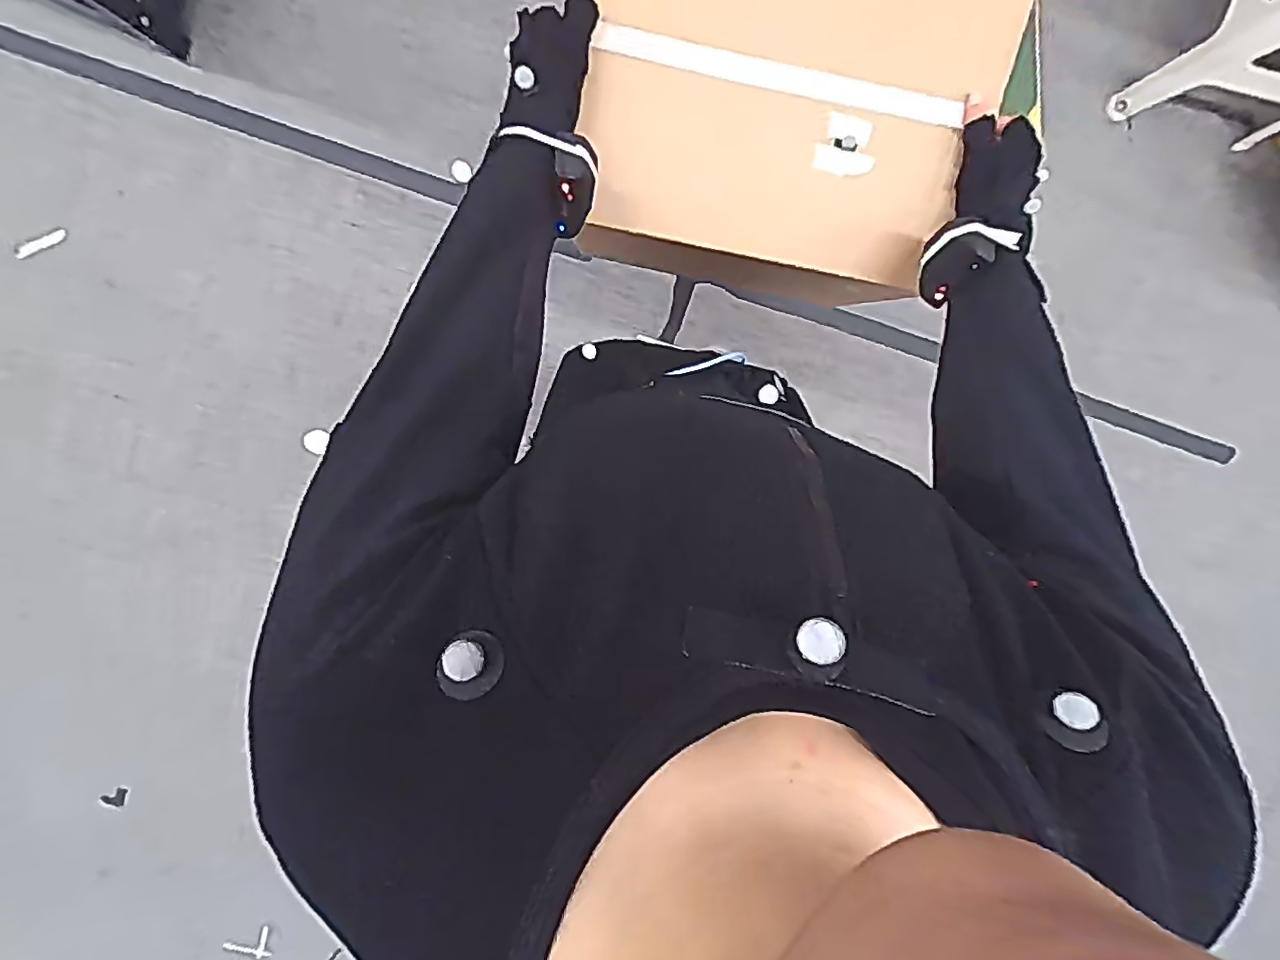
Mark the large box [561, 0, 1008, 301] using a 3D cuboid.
[{"bbox_3d":[0.131,-0.421,0.672,0.408,0.320,0.320,9,106,-5],"label":"large box"}]
